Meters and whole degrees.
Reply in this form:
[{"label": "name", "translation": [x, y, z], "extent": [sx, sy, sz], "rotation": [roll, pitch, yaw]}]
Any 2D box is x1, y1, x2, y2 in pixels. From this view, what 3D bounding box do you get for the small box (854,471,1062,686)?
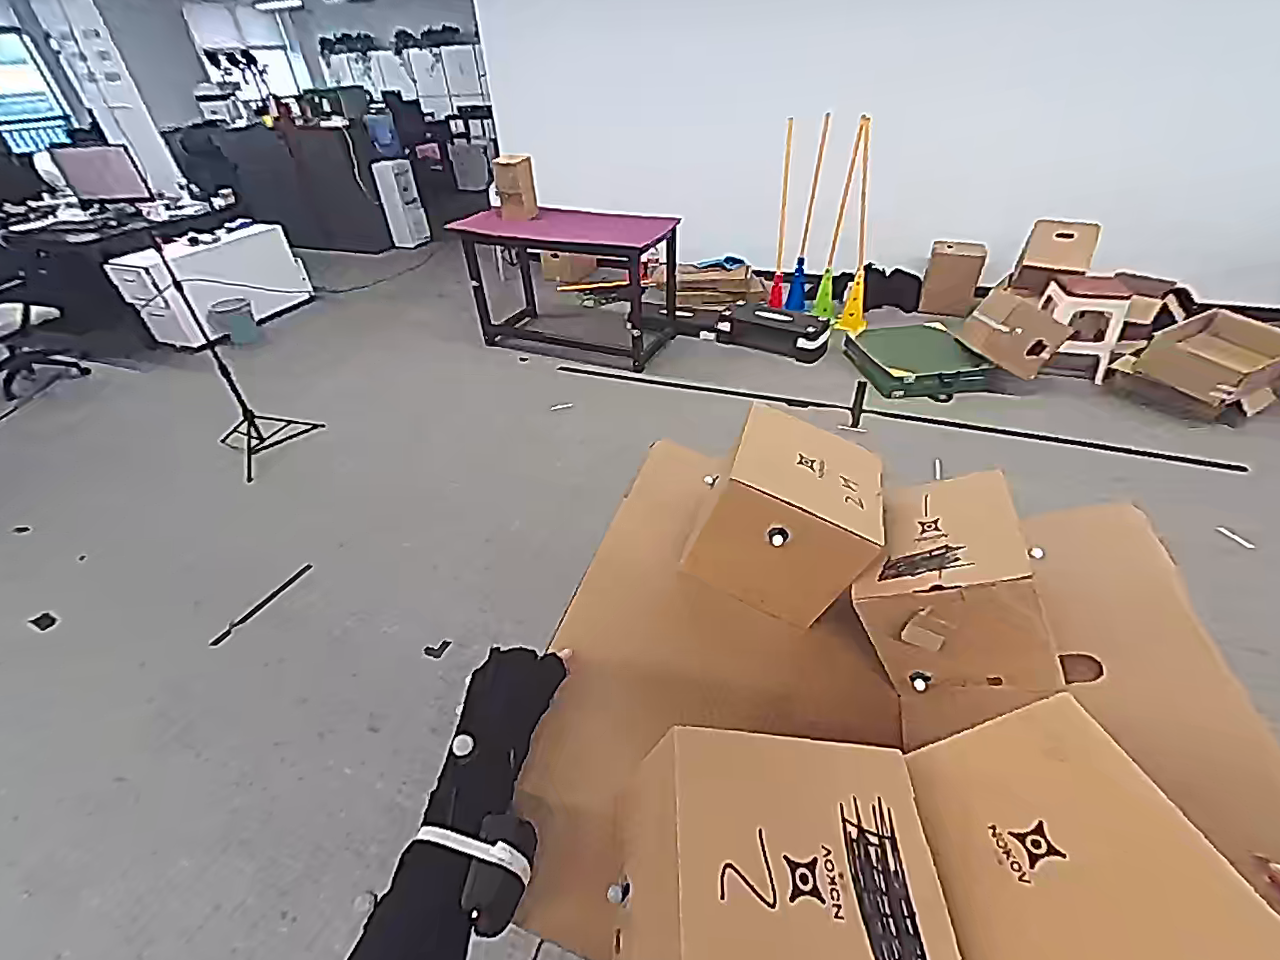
[{"label": "small box", "translation": [0.364, 0.122, 0.632], "extent": [0.168, 0.176, 0.179], "rotation": [-16, 28, 33]}]
